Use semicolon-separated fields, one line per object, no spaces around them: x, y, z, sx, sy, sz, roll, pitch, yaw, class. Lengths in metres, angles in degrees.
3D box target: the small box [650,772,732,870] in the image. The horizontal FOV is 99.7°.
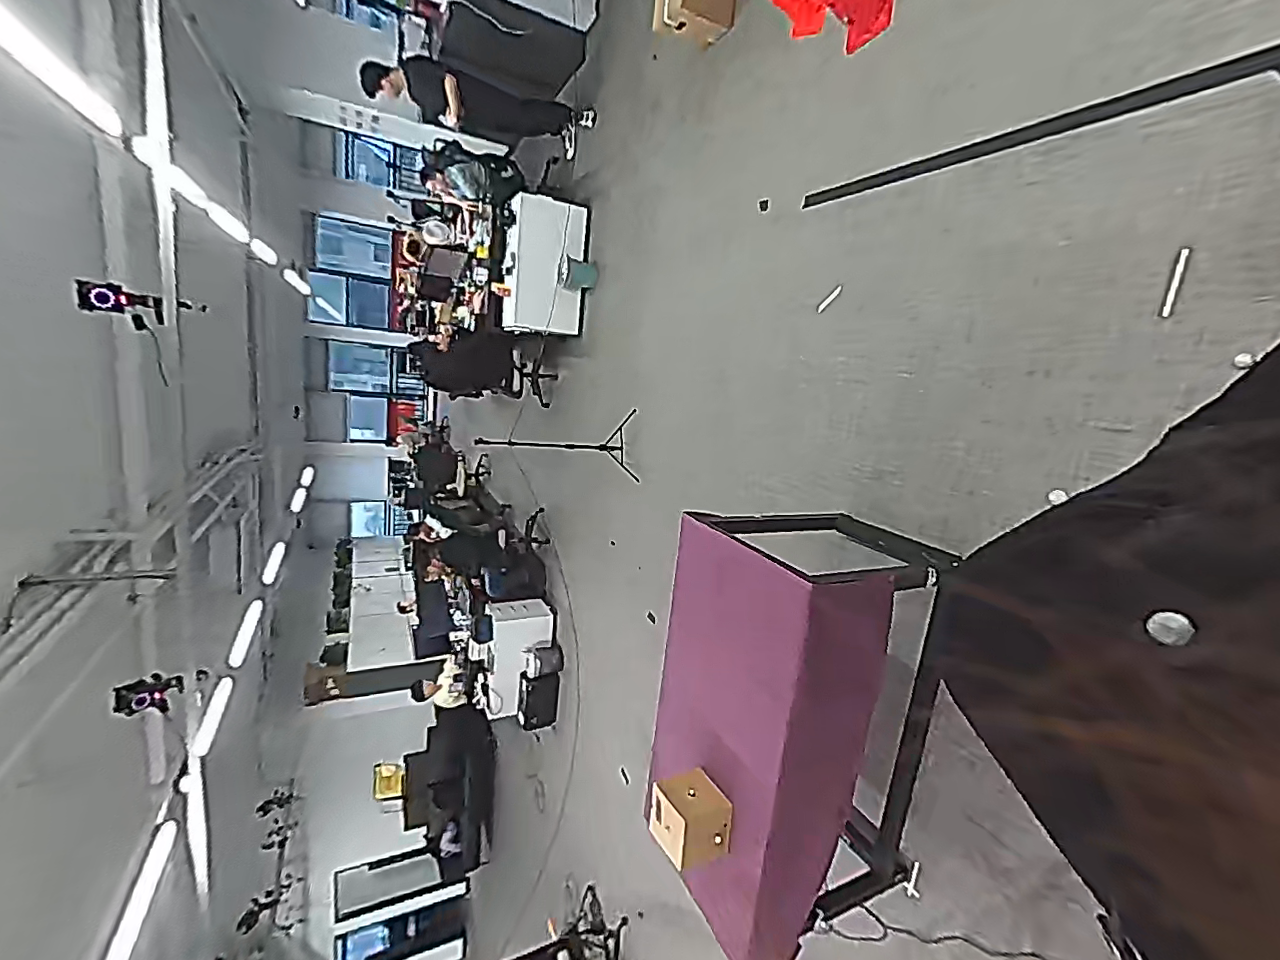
0.148;0.998;1.604;0.179;0.176;0.168;19;107;60;small box
